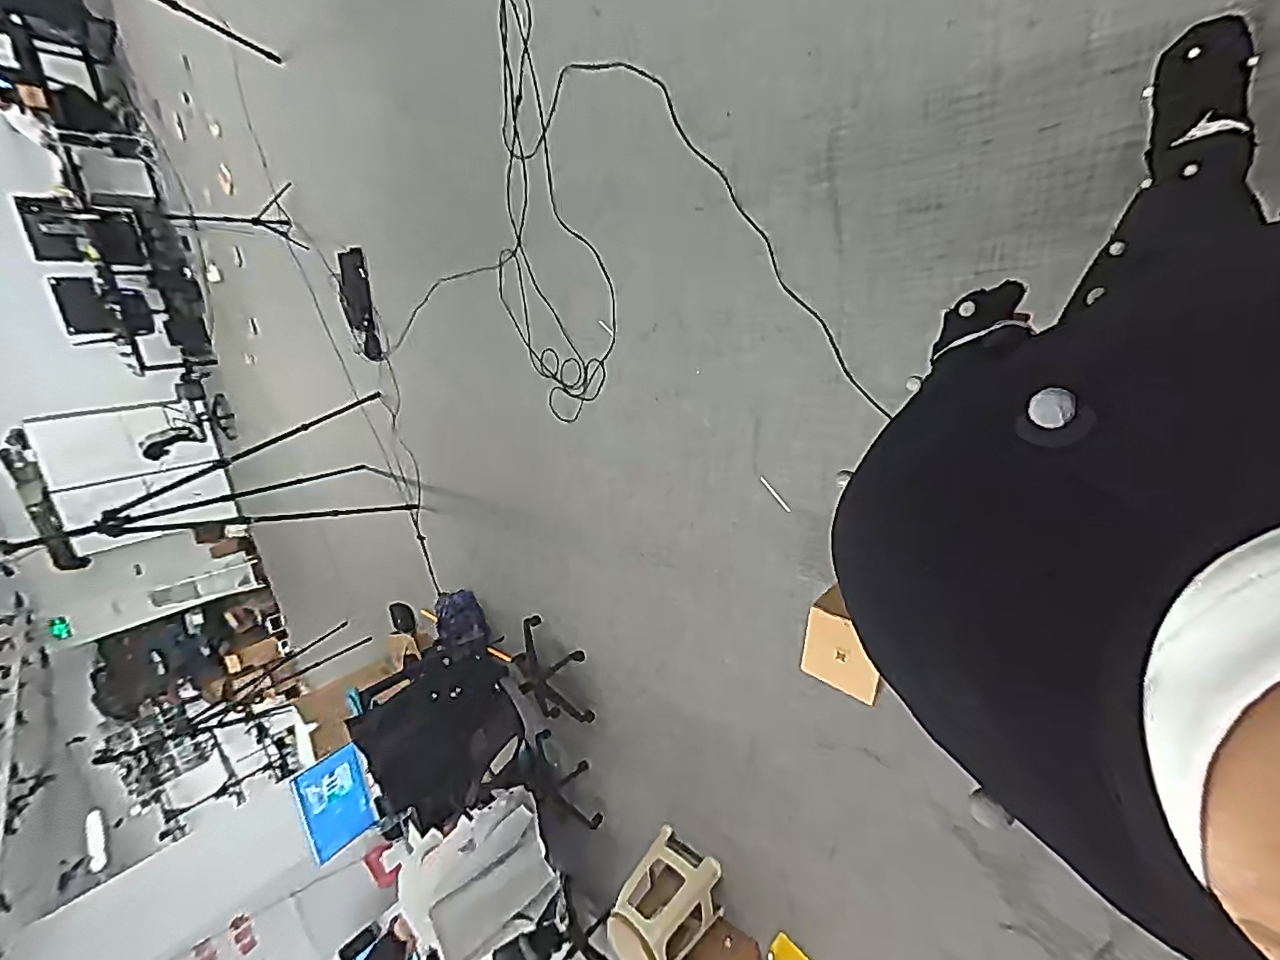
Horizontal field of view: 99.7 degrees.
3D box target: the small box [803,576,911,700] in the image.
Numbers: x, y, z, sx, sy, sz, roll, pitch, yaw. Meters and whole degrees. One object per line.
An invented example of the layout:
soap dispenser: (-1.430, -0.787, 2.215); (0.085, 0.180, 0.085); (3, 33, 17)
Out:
small box: (0.492, 0.348, 1.223); (0.168, 0.176, 0.179); (19, 118, 38)
